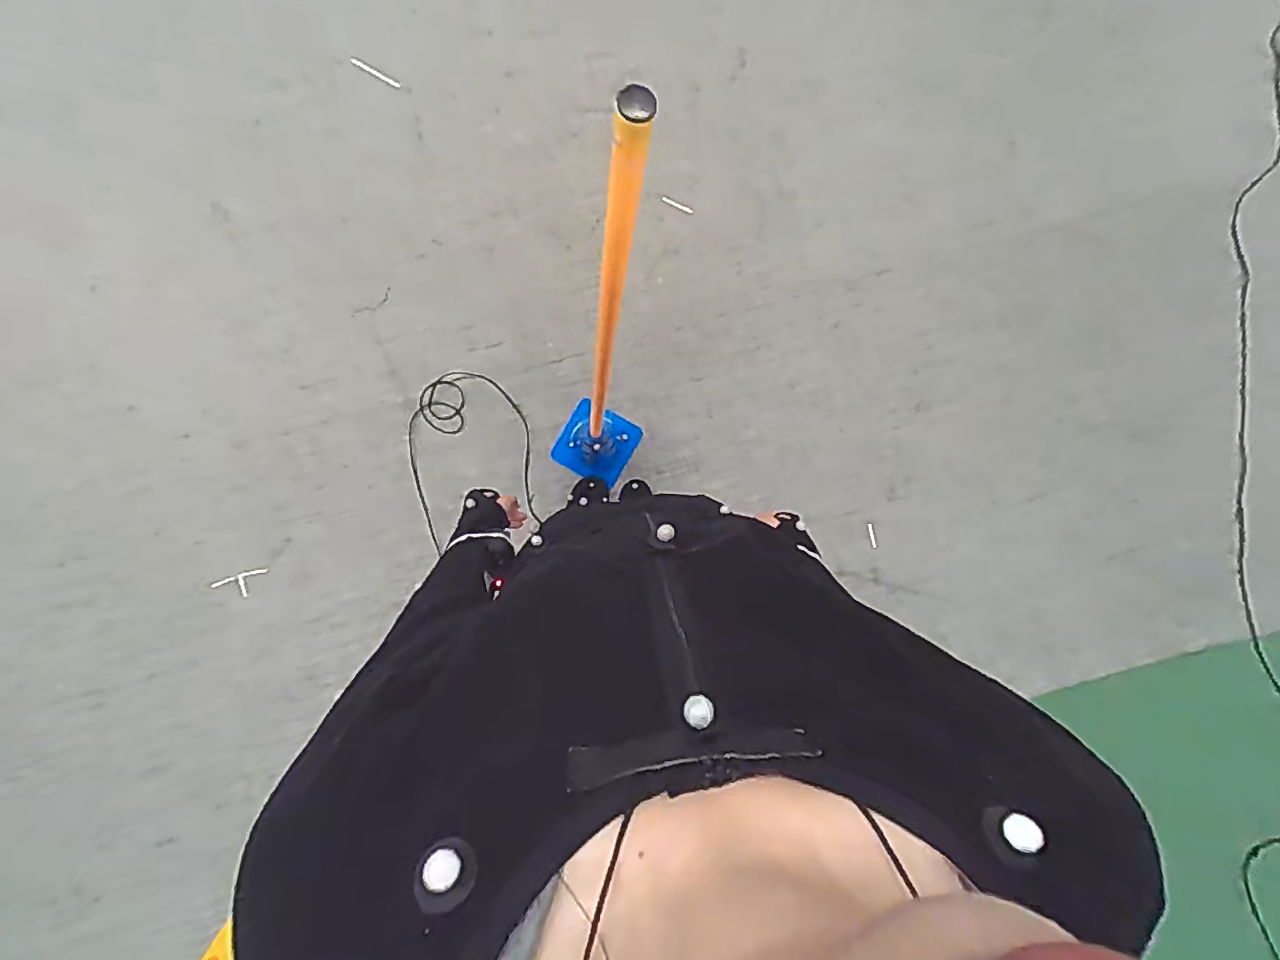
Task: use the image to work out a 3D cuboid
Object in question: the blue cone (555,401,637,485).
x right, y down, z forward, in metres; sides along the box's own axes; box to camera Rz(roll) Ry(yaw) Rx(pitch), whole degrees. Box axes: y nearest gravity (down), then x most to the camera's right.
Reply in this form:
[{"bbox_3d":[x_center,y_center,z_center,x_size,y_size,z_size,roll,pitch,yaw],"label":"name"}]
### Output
[{"bbox_3d":[-0.107,-0.105,1.313,0.192,0.380,0.193,29,87,-4],"label":"blue cone"}]
